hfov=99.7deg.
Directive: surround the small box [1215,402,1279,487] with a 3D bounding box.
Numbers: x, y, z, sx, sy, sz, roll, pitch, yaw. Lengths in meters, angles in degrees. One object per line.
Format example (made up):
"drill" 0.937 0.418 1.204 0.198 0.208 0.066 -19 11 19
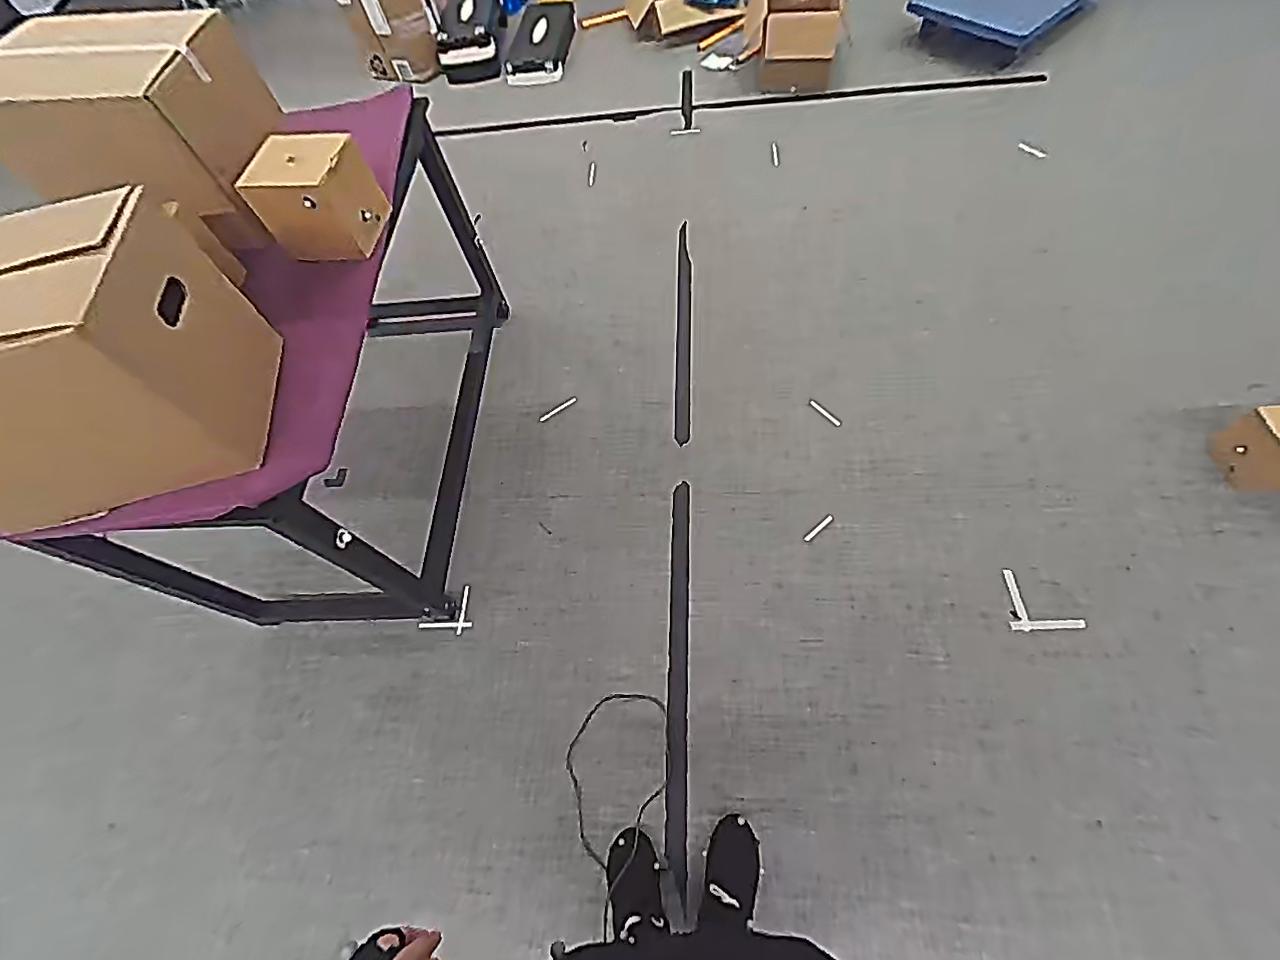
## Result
"small box" 1.674 -0.091 1.406 0.179 0.176 0.168 -5 62 4
